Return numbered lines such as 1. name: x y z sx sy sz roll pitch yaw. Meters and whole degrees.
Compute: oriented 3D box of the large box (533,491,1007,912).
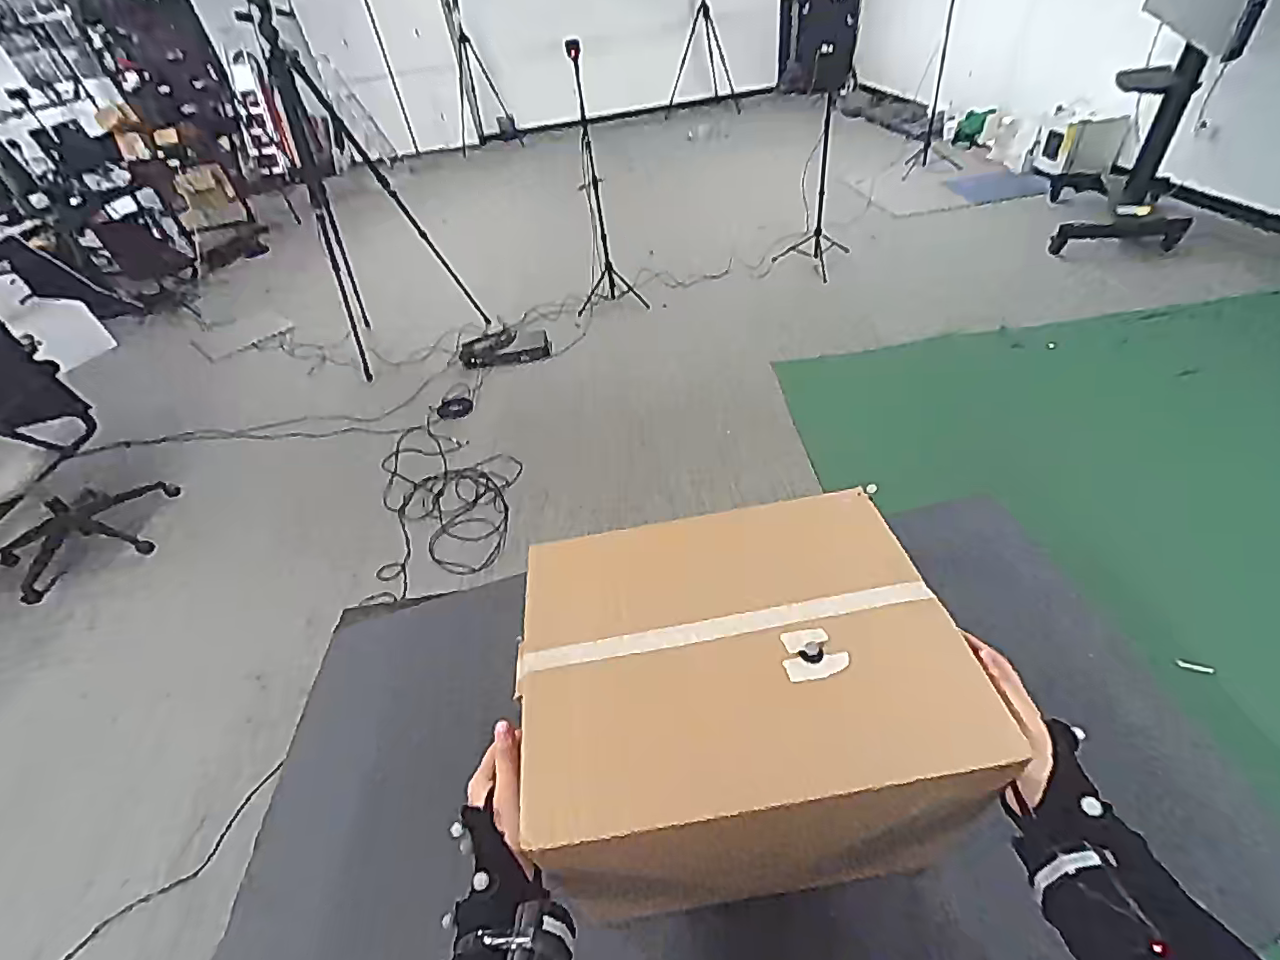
1. large box: 0.104 0.258 0.643 0.408 0.320 0.320 -10 43 -1
